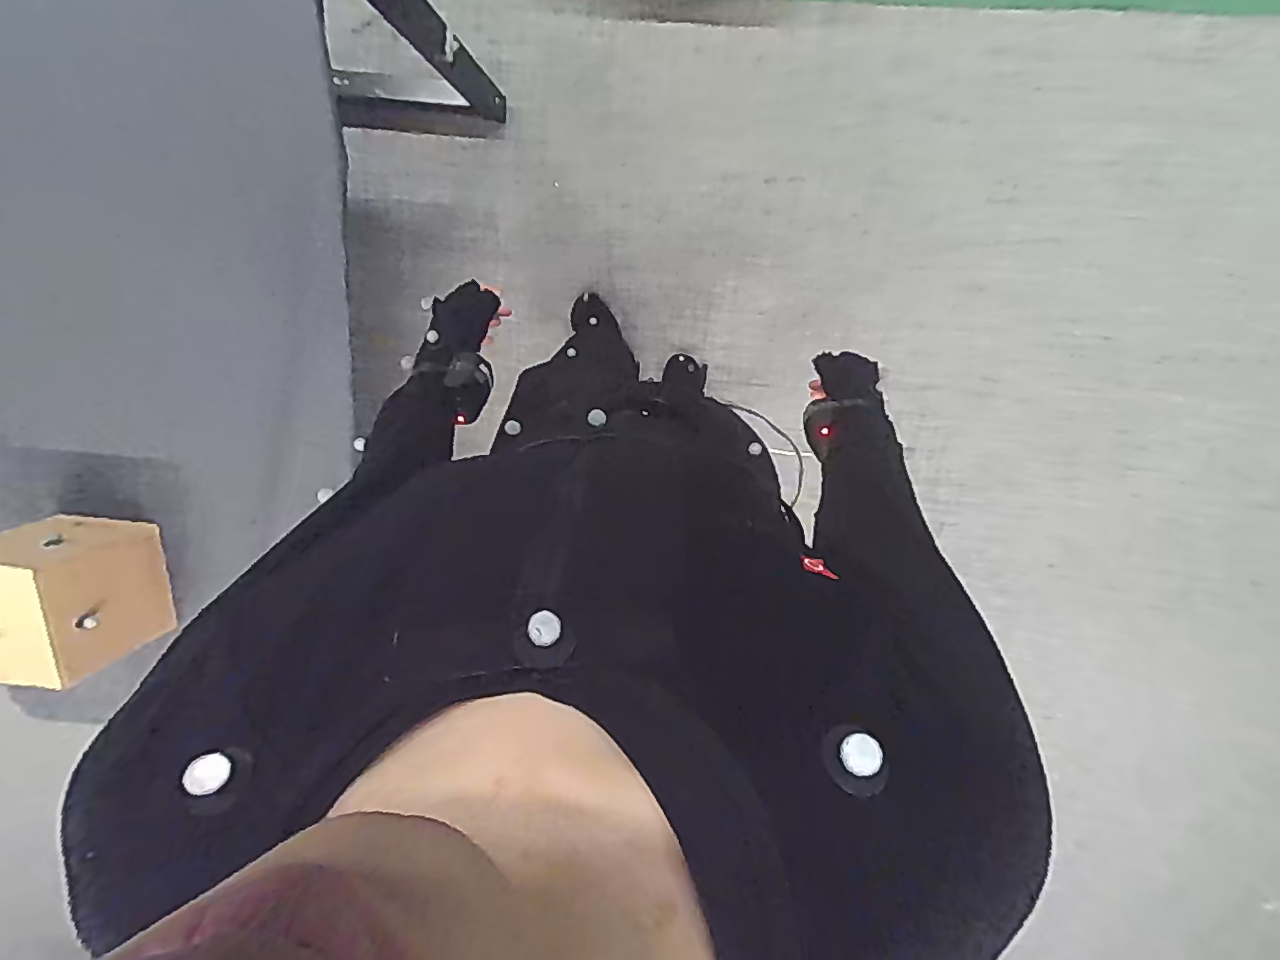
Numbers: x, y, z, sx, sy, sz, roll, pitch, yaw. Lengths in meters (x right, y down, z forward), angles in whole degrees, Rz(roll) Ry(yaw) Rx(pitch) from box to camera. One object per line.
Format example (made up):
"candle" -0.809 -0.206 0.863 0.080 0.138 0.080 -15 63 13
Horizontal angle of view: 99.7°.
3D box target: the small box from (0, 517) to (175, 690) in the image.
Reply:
"small box" -0.813 0.163 0.761 0.168 0.176 0.179 5 107 3
